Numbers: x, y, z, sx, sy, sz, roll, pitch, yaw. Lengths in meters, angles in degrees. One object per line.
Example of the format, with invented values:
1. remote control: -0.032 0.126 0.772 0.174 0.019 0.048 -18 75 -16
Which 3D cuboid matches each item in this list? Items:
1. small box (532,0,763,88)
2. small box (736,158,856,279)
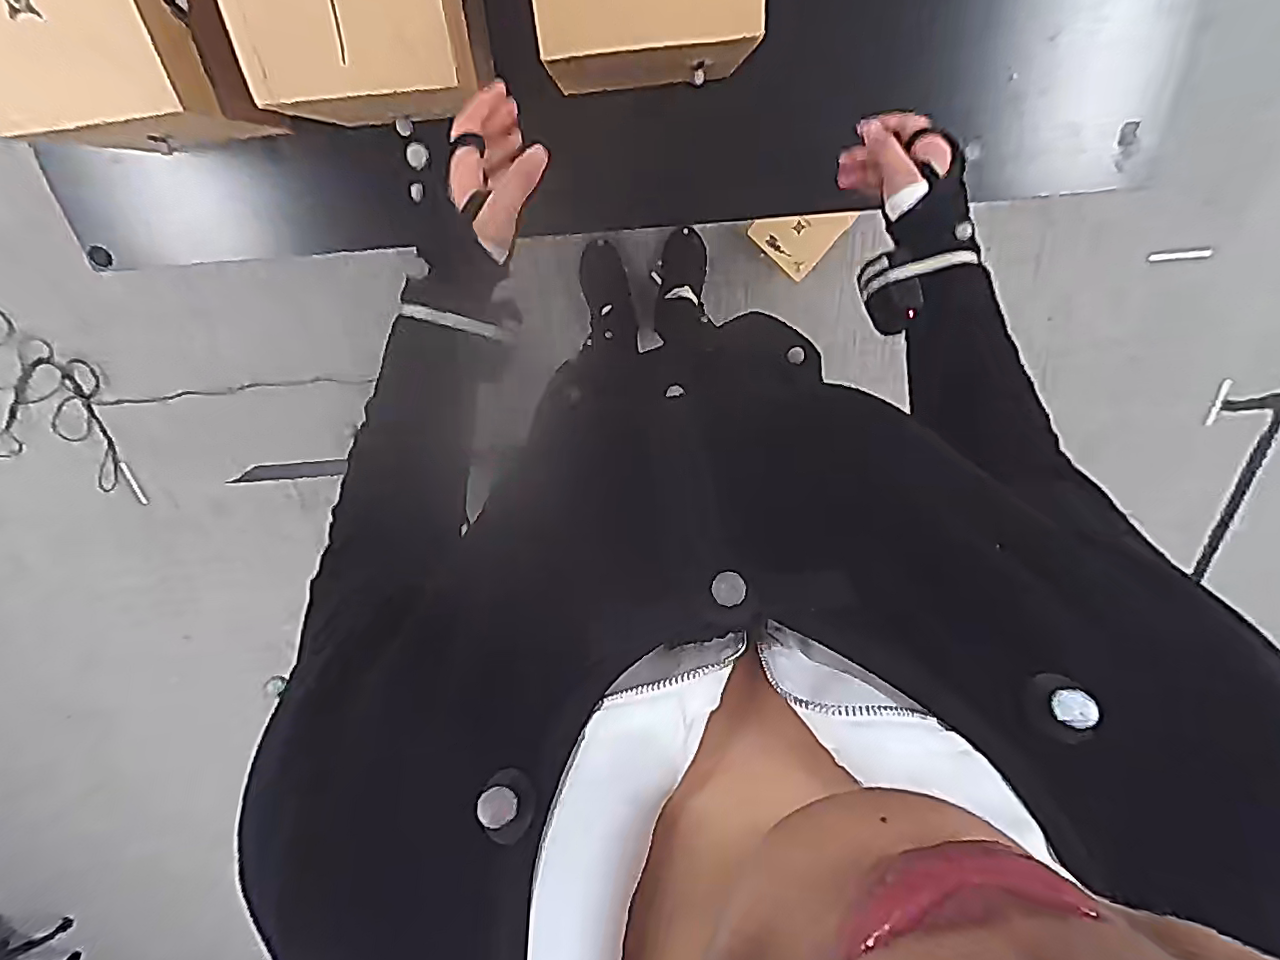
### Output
1. small box: -0.001 -0.444 0.448 0.179 0.176 0.168 -5 118 2
2. small box: 0.336 -0.584 1.210 0.168 0.176 0.179 35 112 -19
